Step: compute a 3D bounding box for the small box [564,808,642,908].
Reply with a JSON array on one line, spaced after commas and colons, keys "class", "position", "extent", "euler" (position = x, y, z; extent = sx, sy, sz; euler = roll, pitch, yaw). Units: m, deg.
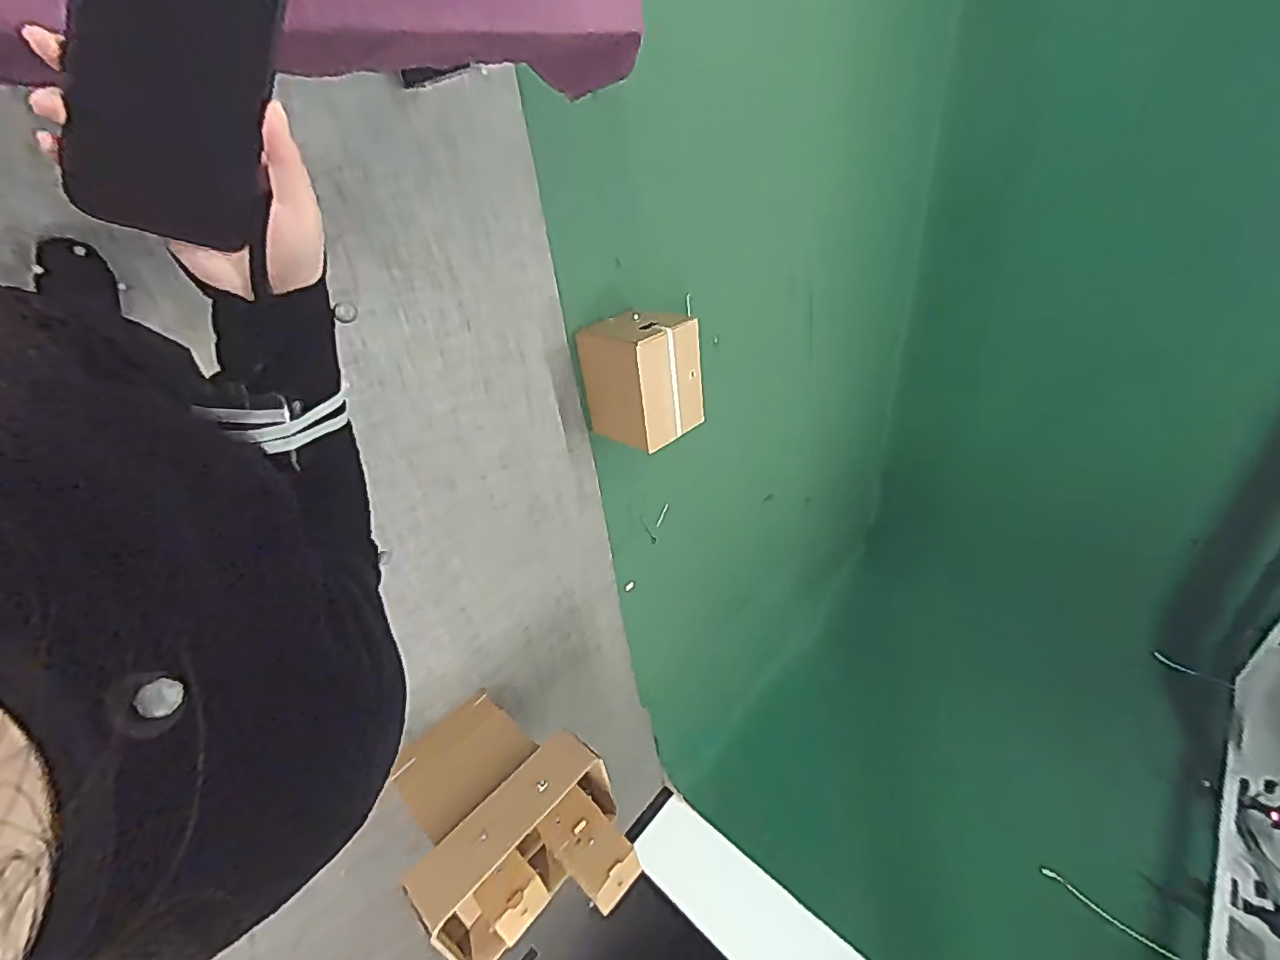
[{"class": "small box", "position": [-0.118, 1.192, 1.718], "extent": [0.168, 0.176, 0.179], "euler": [-35, 131, -33]}]

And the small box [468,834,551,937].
[{"class": "small box", "position": [-0.406, 1.256, 1.685], "extent": [0.168, 0.176, 0.179], "euler": [-36, 132, -33]}]
